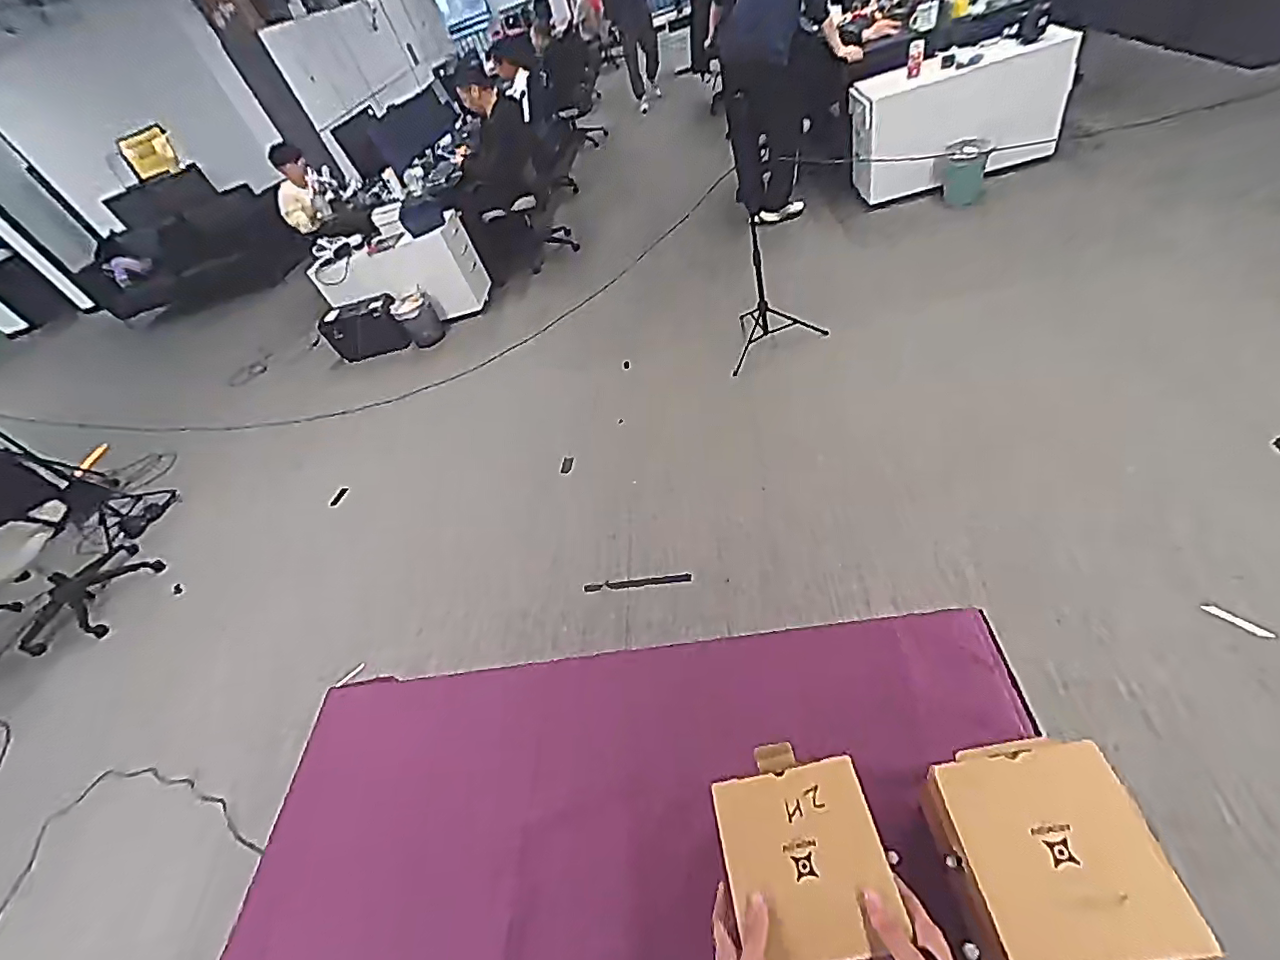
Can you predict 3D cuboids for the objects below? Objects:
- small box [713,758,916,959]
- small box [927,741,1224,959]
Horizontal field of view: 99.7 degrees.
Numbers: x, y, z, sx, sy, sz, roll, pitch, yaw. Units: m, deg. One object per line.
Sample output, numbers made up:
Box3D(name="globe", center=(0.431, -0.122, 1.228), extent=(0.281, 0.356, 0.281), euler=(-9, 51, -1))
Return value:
Box3D(name="small box", center=(0.195, 0.452, 0.623), extent=(0.168, 0.176, 0.179), euler=(-17, 44, 7))
Box3D(name="small box", center=(0.425, 0.407, 0.573), extent=(0.168, 0.176, 0.179), euler=(-15, 44, 10))
